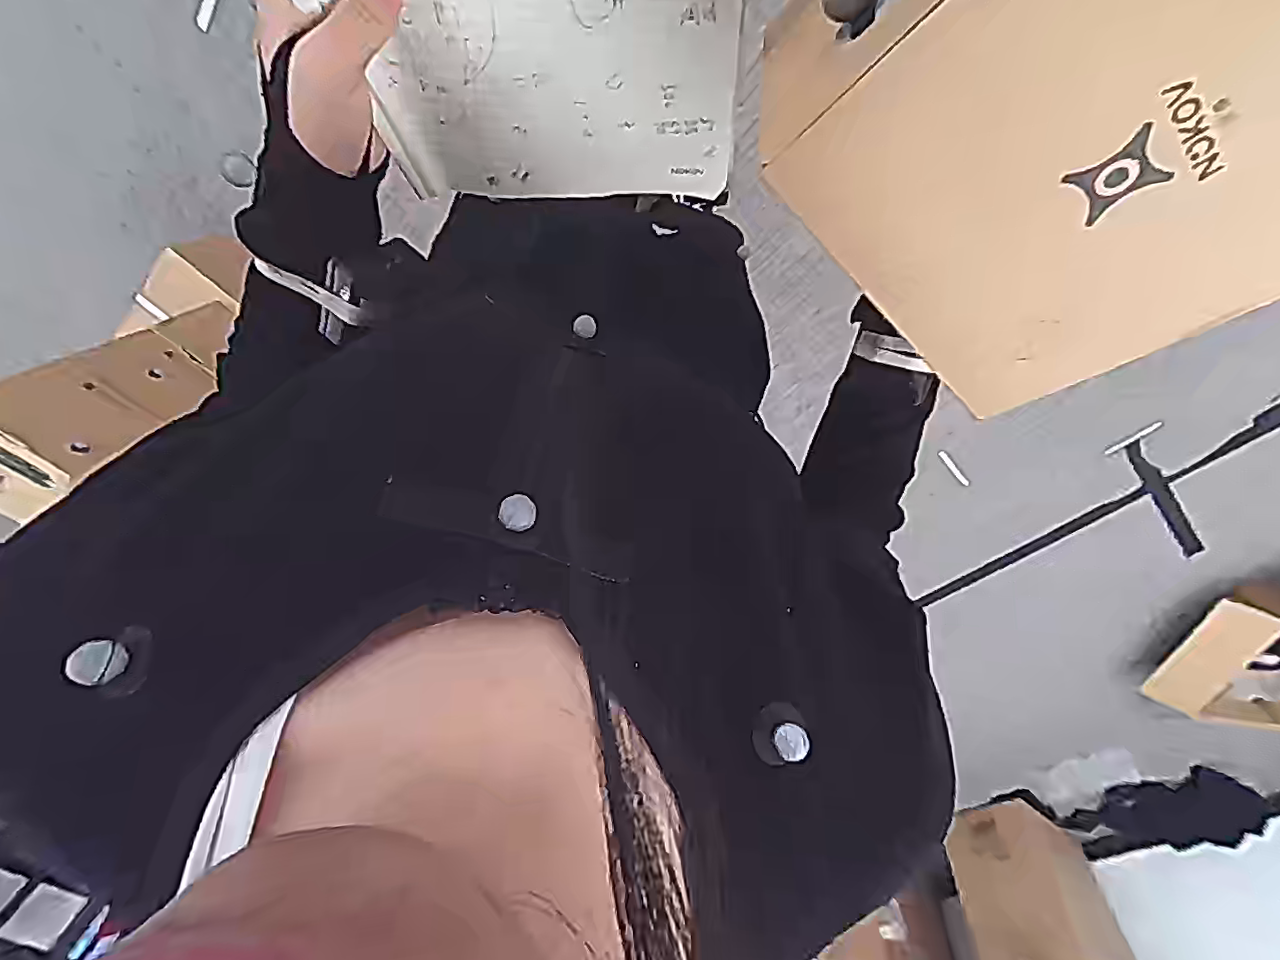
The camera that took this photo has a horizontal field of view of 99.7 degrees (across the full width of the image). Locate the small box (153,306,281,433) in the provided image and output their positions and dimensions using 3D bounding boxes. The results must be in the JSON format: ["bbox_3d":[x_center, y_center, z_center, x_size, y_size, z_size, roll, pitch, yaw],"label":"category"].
[{"bbox_3d":[-0.904,-0.237,1.136,0.179,0.176,0.168,-33,114,24],"label":"small box"}]

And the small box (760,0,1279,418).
[{"bbox_3d":[0.169,-0.163,0.214,0.168,0.176,0.179,32,139,-27],"label":"small box"}]

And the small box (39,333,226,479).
[{"bbox_3d":[-0.925,-0.143,1.003,0.179,0.176,0.168,-36,113,24],"label":"small box"}]
